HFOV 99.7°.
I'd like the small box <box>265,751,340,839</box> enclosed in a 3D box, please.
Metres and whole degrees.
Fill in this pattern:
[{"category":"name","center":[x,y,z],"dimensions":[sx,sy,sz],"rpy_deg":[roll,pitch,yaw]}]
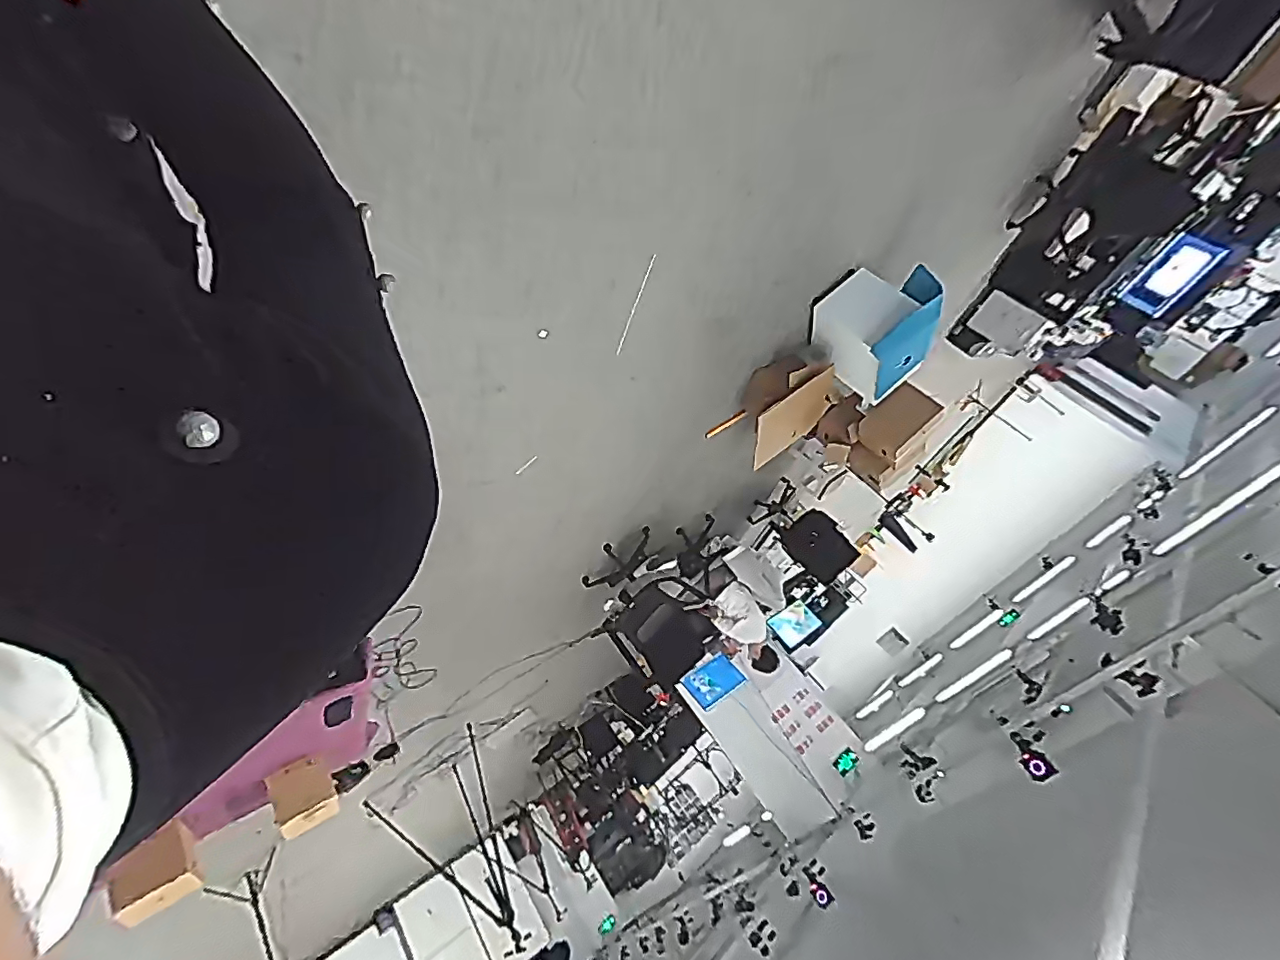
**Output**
[{"category":"small box","center":[-1.108,1.026,1.775],"dimensions":[0.168,0.176,0.179],"rpy_deg":[-19,147,-38]}]

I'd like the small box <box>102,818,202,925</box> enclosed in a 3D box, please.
[{"category":"small box","center":[-1.375,1.100,1.528],"dimensions":[0.168,0.176,0.179],"rpy_deg":[-20,146,-39]}]
